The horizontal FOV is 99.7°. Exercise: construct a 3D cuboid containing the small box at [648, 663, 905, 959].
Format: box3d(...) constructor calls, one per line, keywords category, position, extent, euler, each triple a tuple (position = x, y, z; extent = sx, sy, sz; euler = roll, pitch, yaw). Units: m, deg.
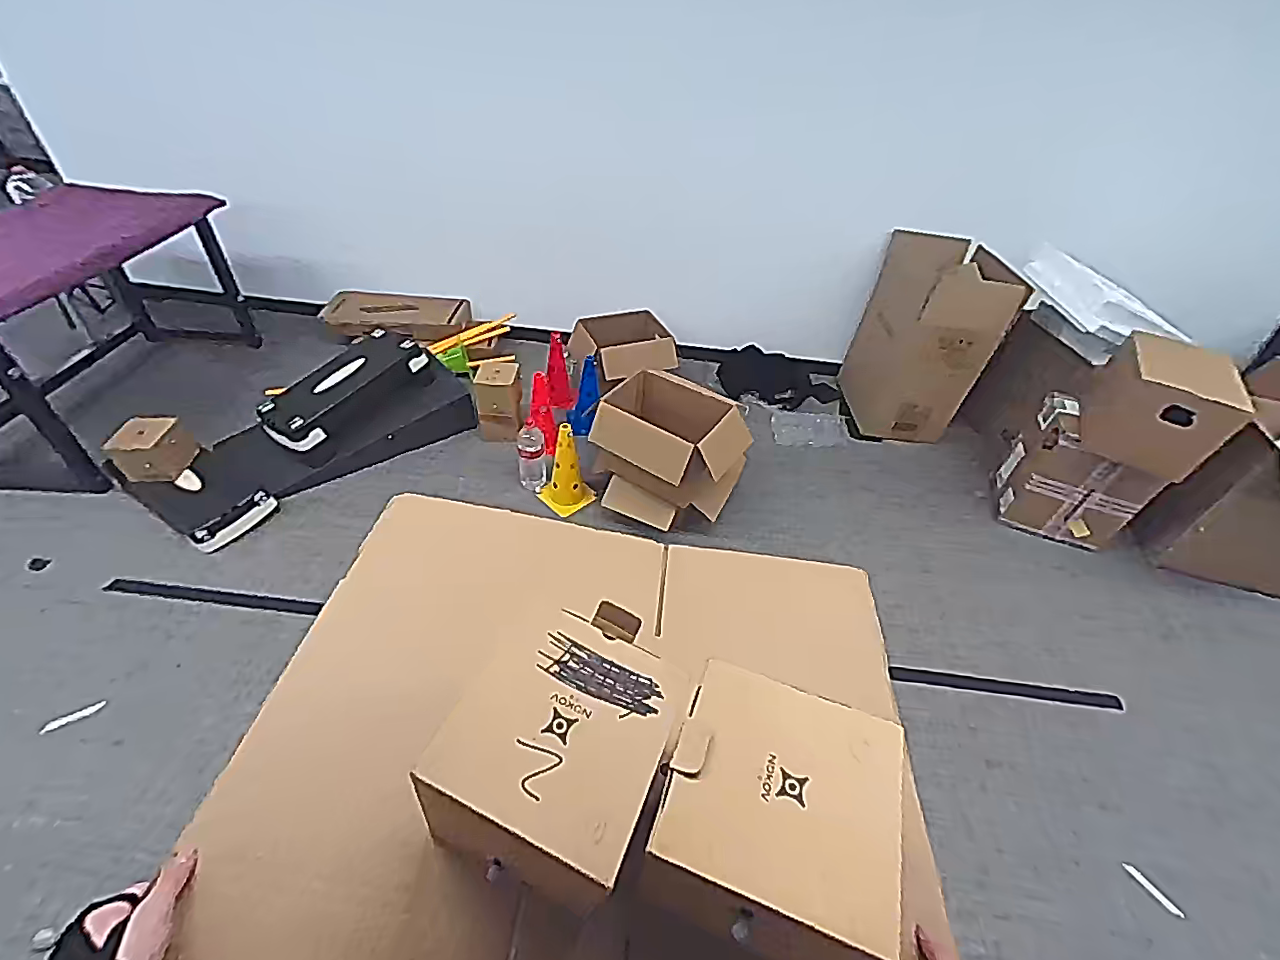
box3d(category="small box", position=(0.116, 0.302, 0.488), extent=(0.179, 0.176, 0.168), euler=(15, 45, 14))
